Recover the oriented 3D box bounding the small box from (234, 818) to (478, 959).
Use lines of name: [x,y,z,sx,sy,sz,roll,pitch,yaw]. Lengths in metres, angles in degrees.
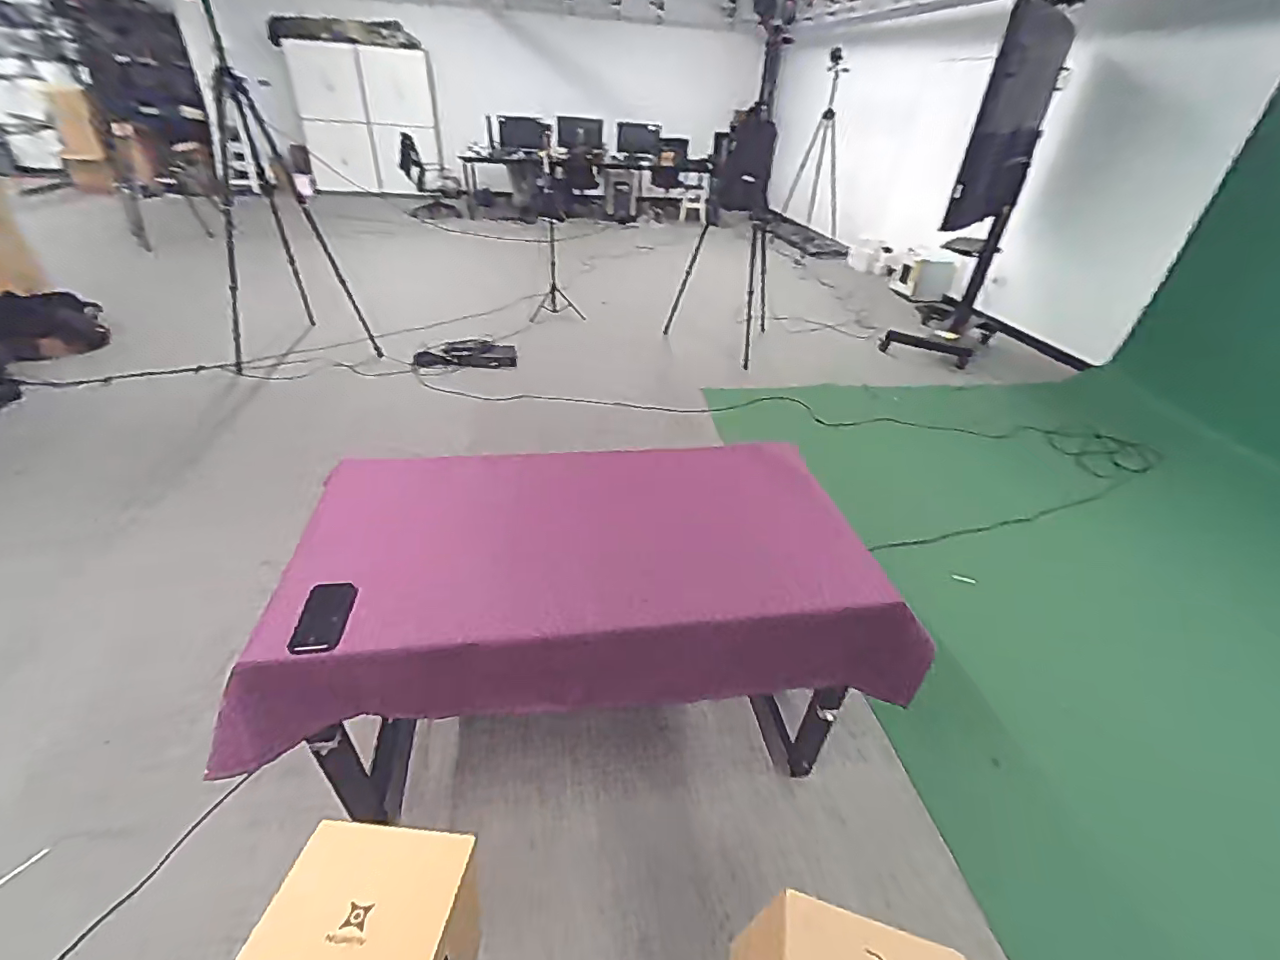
small box: [-0.262,0.468,0.515,0.168,0.176,0.179,5,24,1]
